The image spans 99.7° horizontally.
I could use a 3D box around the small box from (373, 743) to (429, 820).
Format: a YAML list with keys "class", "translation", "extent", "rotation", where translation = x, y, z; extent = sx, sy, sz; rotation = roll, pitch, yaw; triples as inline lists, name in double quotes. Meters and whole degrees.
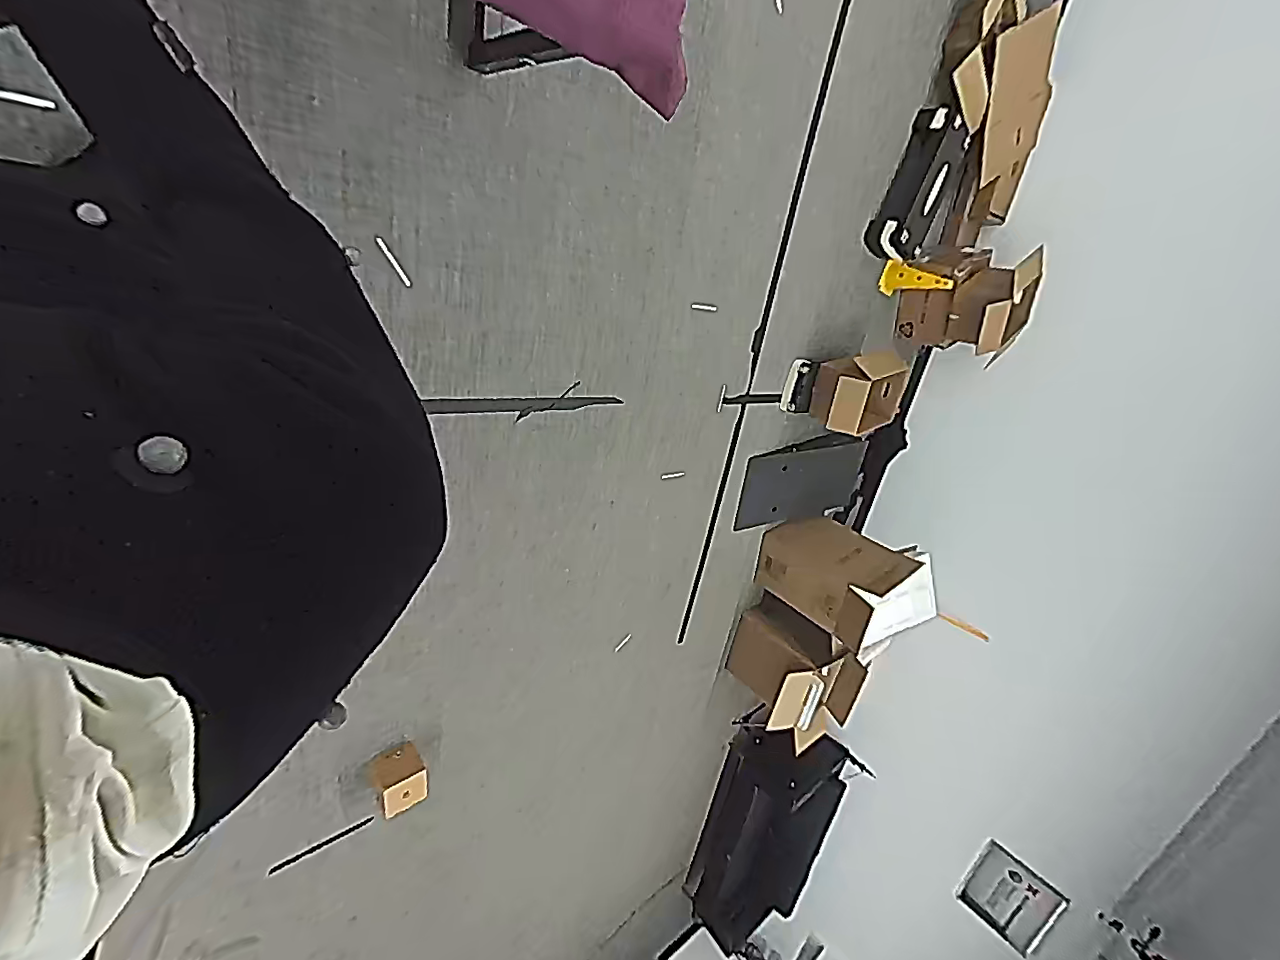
- class: "small box"
  translation: [-0.965, 1.211, 2.182]
  extent: [0.168, 0.176, 0.179]
  rotation: [-14, 123, -40]
